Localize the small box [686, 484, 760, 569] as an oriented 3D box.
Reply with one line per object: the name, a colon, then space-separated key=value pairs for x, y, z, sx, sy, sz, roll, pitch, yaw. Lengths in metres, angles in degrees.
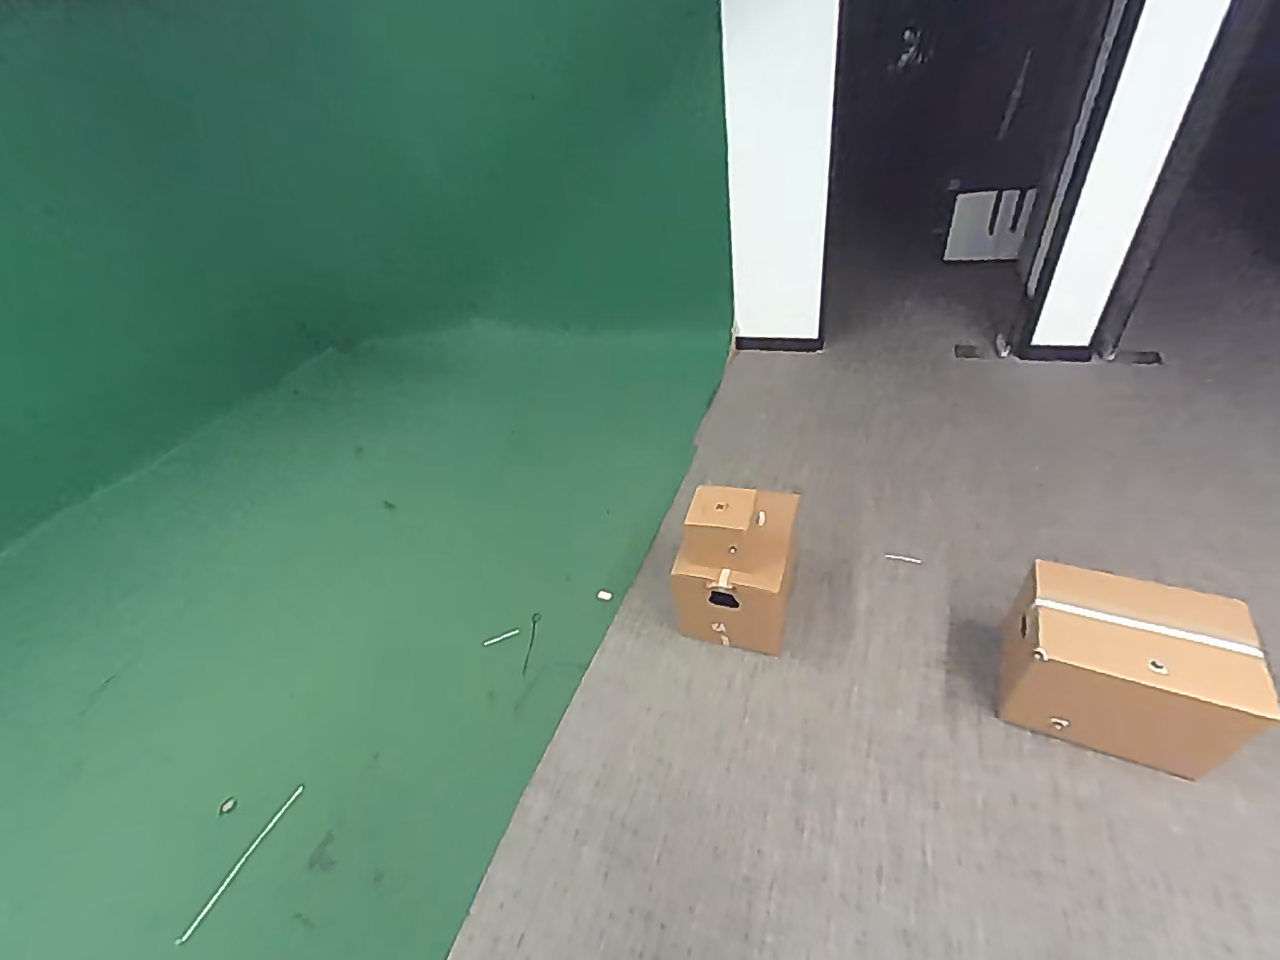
small box: x=0.244 y=0.134 z=1.543 sx=0.179 sy=0.176 sz=0.168 roll=5 pitch=41 yaw=21

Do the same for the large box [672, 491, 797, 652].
large box: x=0.322 y=0.277 z=1.739 sx=0.320 sy=0.320 sz=0.408 roll=7 pitch=42 yaw=21
